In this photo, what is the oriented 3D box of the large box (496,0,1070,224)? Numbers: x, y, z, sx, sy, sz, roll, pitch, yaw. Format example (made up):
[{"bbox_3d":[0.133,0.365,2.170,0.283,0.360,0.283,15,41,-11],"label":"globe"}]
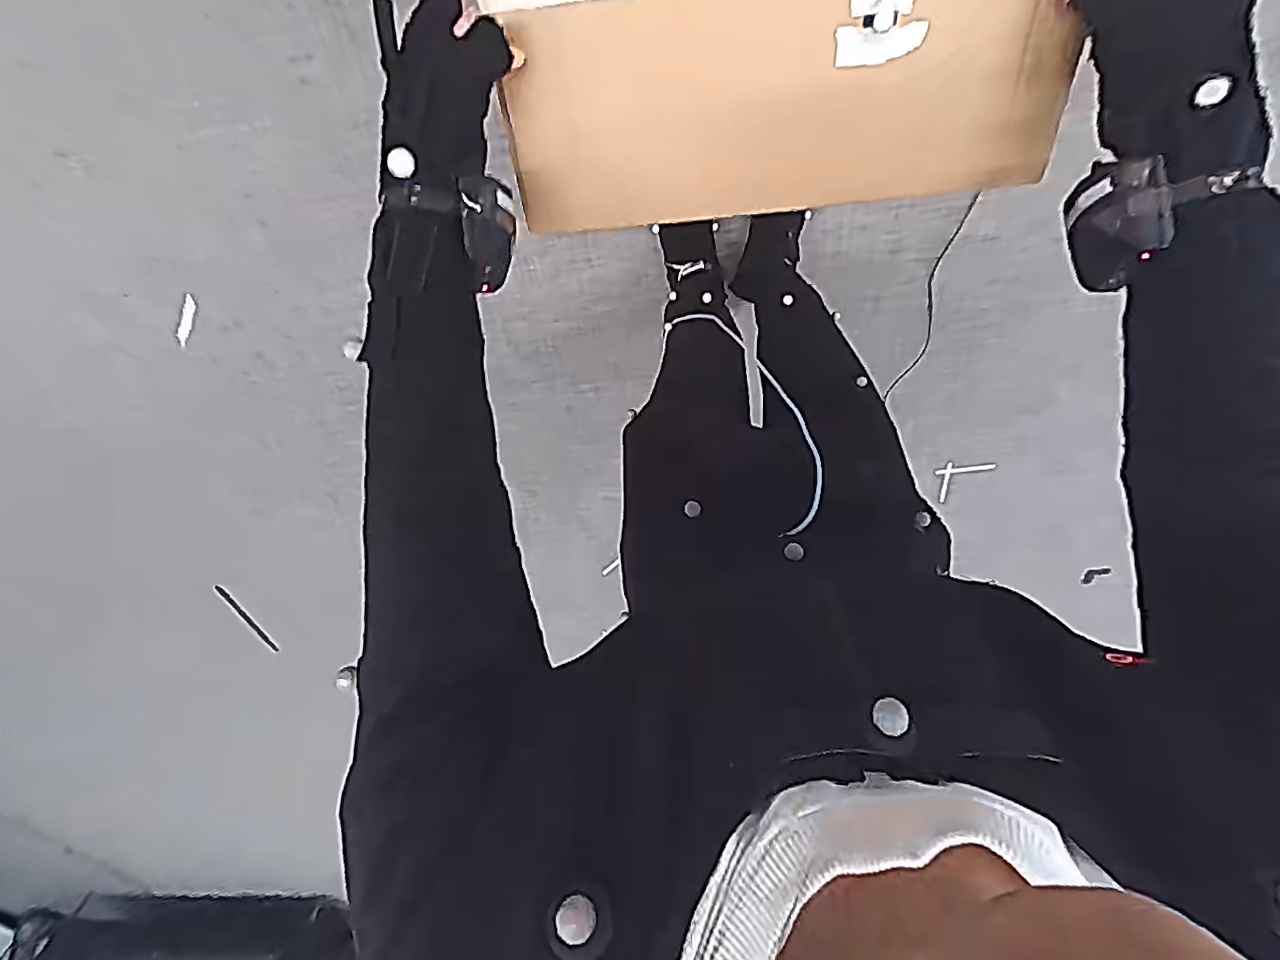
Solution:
[{"bbox_3d":[0.097,-0.447,0.478,0.408,0.320,0.320,-4,127,6],"label":"large box"}]

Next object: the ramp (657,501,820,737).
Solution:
[{"bbox_3d":[0.334,0.518,1.829,0.509,0.206,0.991,-4,126,8],"label":"ramp"}]
